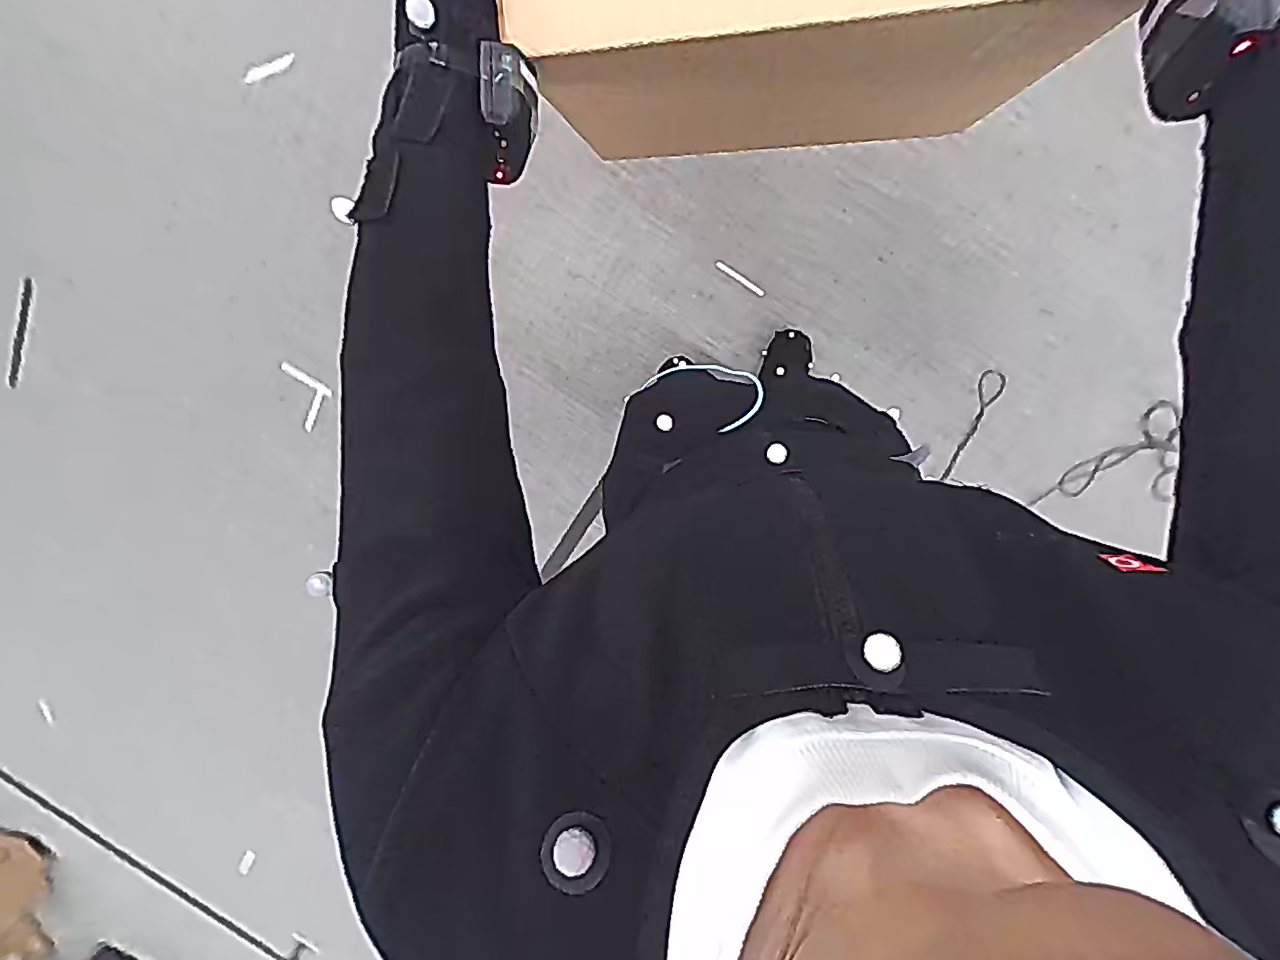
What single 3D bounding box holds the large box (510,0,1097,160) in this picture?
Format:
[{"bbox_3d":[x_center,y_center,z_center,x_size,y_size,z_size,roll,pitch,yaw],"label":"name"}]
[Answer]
[{"bbox_3d":[0.117,-0.487,0.435,0.408,0.320,0.320,-1,109,8],"label":"large box"}]
